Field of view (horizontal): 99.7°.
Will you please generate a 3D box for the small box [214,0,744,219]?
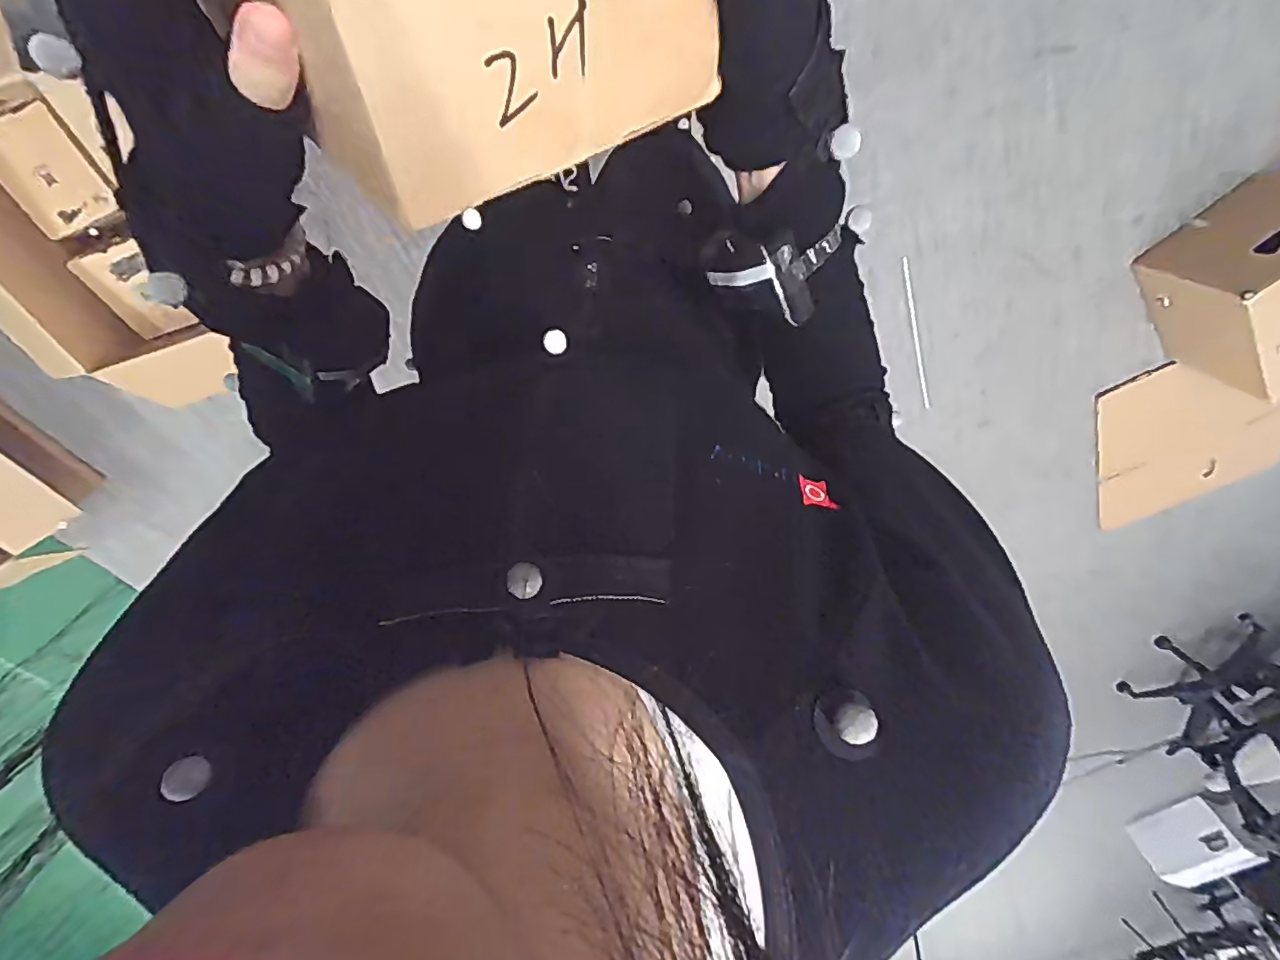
[{"bbox_3d":[-0.071,-0.235,0.186,0.168,0.176,0.179,-37,156,-22],"label":"small box"}]
